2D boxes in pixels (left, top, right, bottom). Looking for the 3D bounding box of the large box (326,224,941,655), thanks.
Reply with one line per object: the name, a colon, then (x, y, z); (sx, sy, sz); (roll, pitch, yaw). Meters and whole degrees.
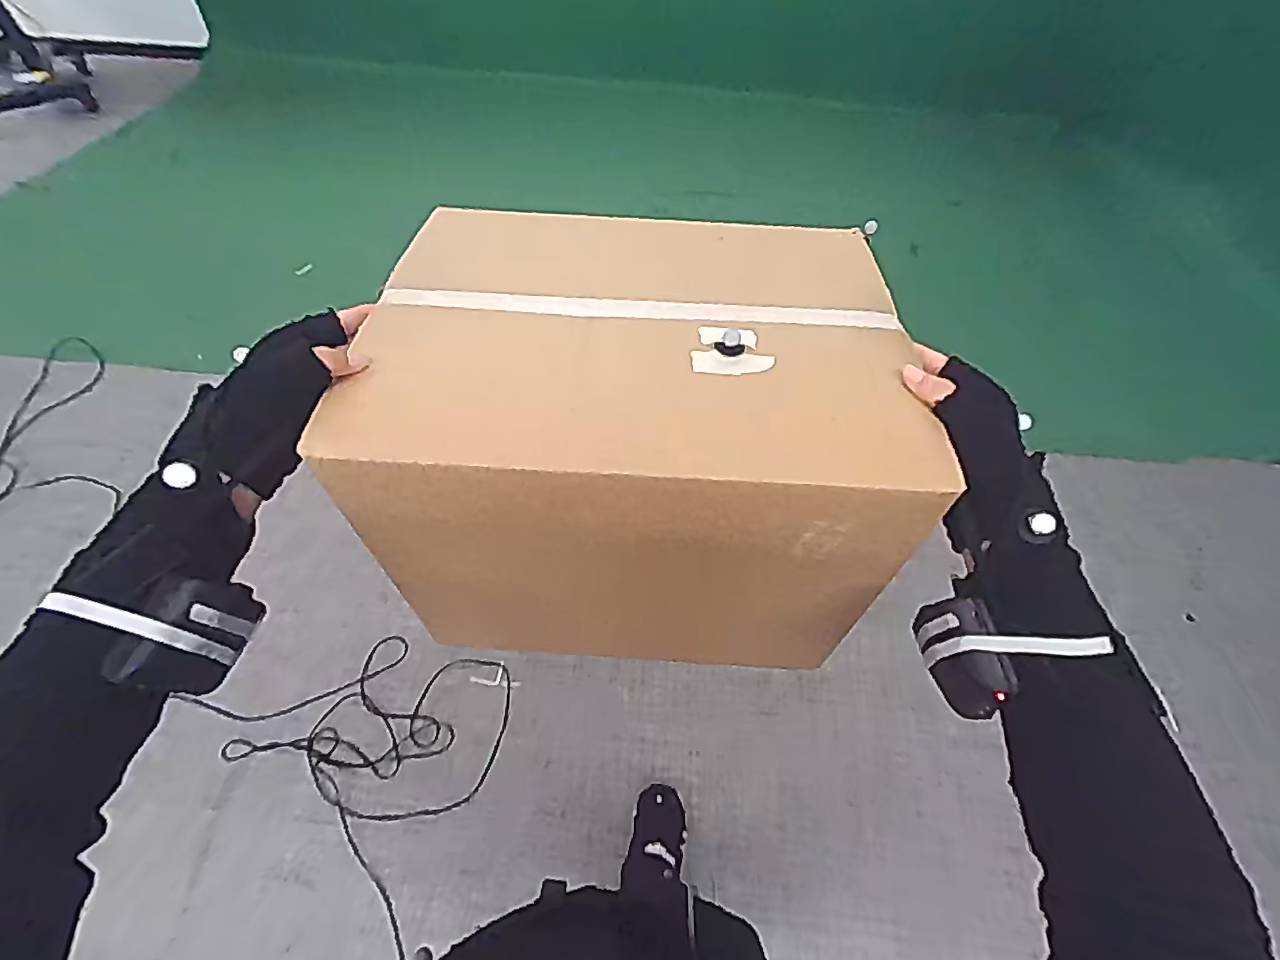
large box: (-0.005, -0.030, 0.551); (0.408, 0.320, 0.320); (3, 52, 0)
